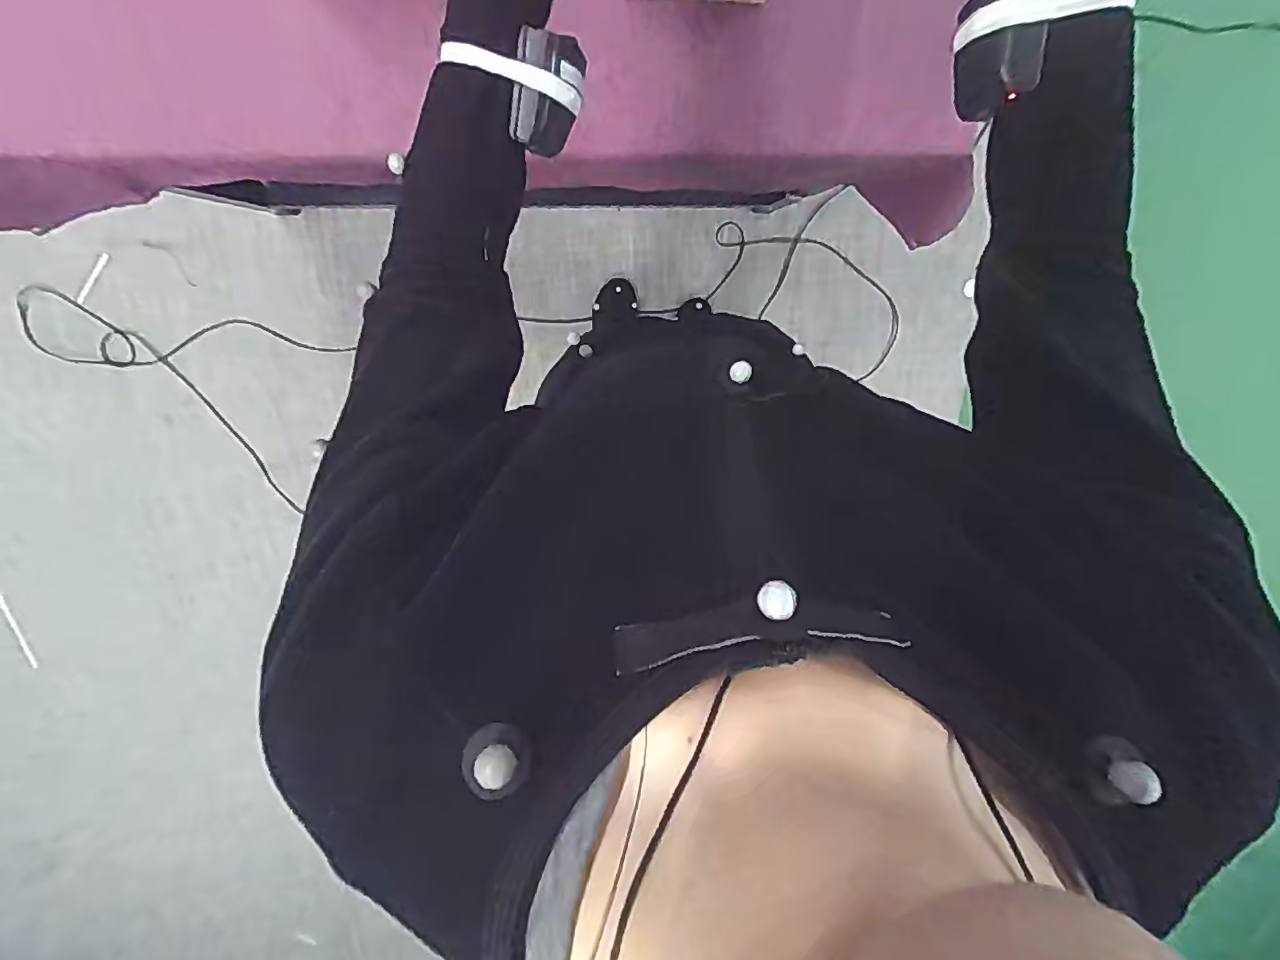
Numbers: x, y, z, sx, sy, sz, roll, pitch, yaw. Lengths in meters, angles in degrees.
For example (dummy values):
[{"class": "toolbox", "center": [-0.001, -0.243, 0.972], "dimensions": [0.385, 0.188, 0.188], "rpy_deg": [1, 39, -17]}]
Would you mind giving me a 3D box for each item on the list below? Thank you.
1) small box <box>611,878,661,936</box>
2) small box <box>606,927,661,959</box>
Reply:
[{"class": "small box", "center": [-0.020, 1.665, 2.062], "dimensions": [0.168, 0.176, 0.179], "rpy_deg": [5, 108, -8]}, {"class": "small box", "center": [-0.020, 1.717, 1.904], "dimensions": [0.179, 0.176, 0.168], "rpy_deg": [5, 109, -8]}]
